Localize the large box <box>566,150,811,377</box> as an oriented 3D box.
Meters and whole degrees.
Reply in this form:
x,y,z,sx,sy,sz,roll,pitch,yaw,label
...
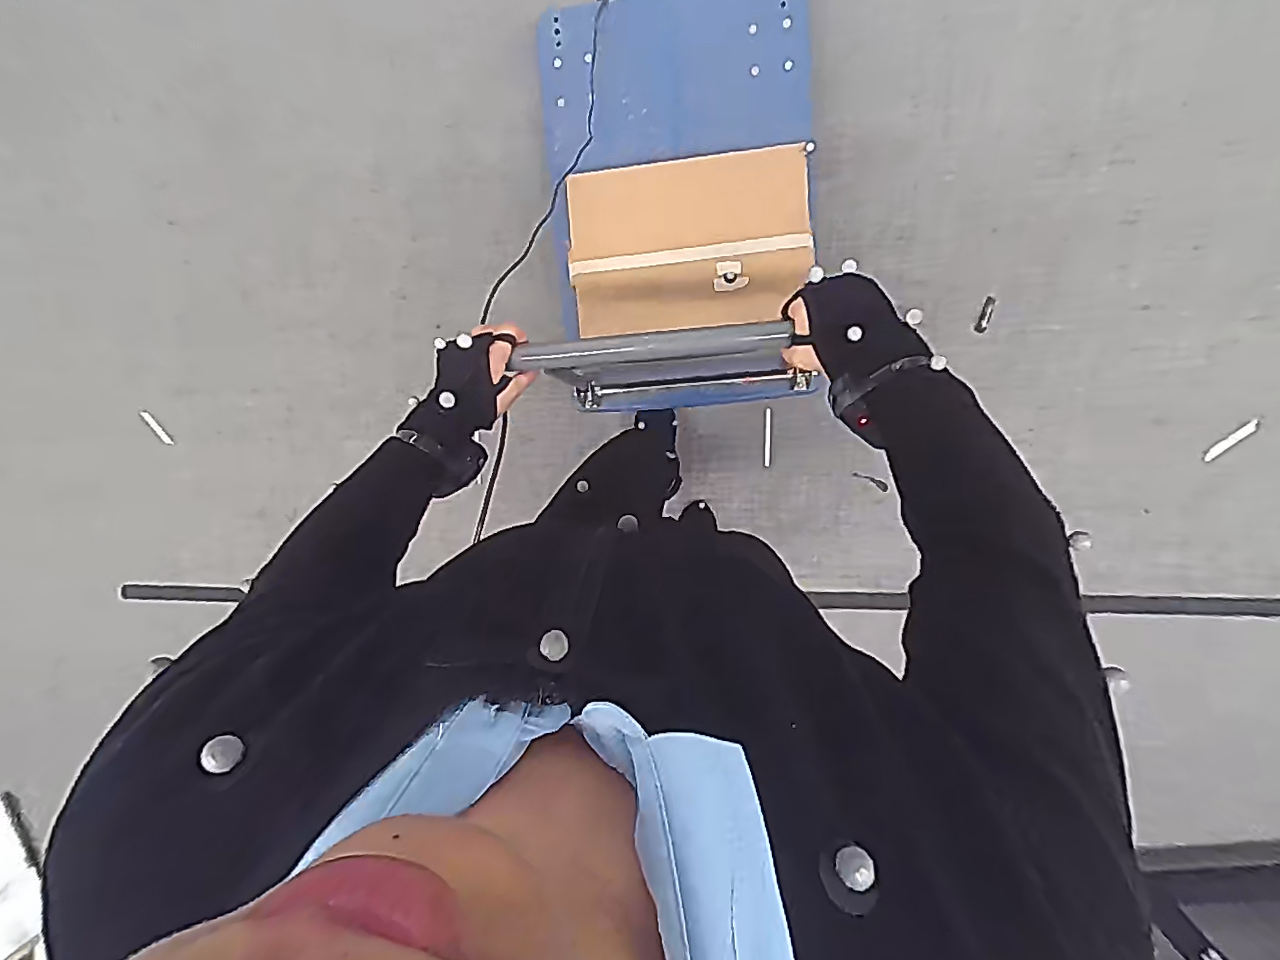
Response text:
x,y,z,sx,sy,sz,roll,pitch,yaw,label
0.095,-0.390,1.069,0.408,0.320,0.320,-4,96,6,large box
